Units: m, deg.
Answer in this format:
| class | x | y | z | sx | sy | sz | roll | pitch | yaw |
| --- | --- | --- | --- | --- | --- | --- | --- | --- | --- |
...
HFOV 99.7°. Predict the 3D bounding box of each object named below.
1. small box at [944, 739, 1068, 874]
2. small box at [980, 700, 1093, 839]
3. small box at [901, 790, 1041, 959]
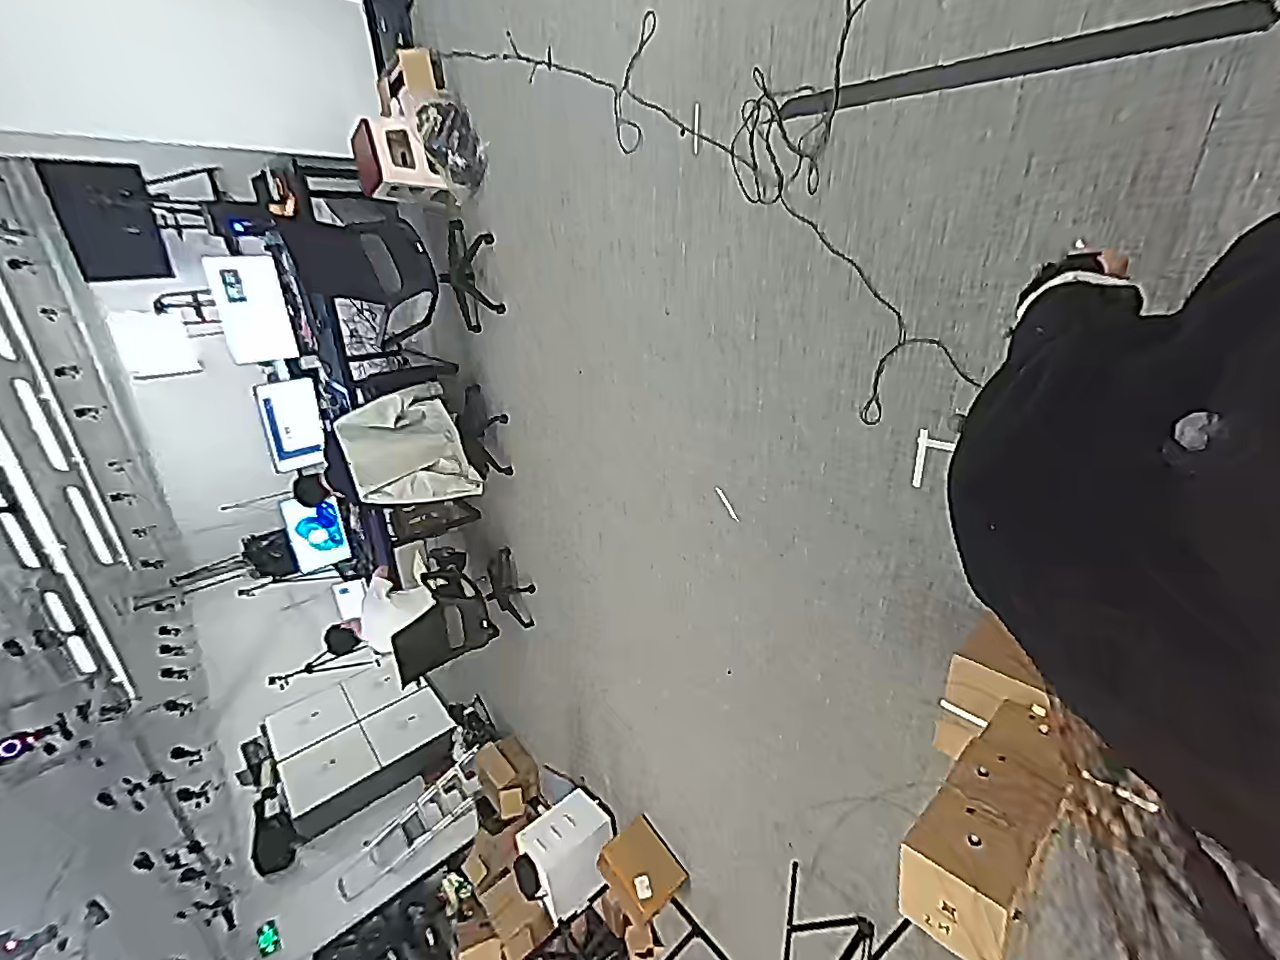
| class | x | y | z | sx | sy | sz | roll | pitch | yaw |
| --- | --- | --- | --- | --- | --- | --- | --- | --- | --- |
| small box | 0.710 | 0.655 | 1.063 | 0.168 | 0.176 | 0.179 | 19 | 121 | 47 |
| small box | 0.836 | 0.616 | 1.158 | 0.168 | 0.176 | 0.179 | 20 | 121 | 45 |
| small box | 0.589 | 0.705 | 0.963 | 0.168 | 0.176 | 0.179 | 14 | 116 | 50 |
